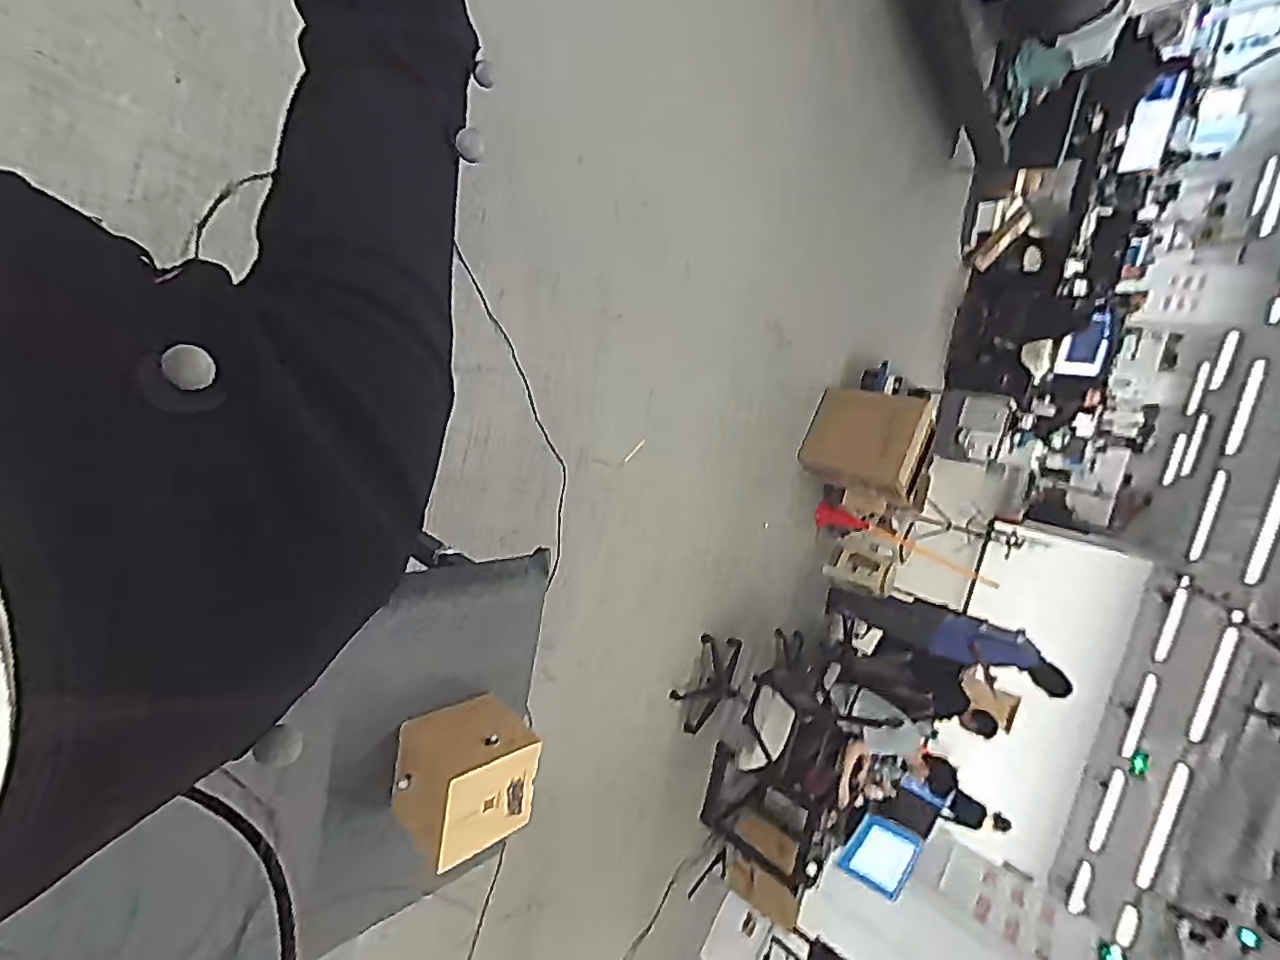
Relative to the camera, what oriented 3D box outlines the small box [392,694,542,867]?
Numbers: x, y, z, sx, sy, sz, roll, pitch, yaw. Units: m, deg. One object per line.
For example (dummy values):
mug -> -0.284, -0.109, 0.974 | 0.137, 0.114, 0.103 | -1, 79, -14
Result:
small box -> -0.299, 0.500, 0.934 | 0.179, 0.176, 0.168 | -1, 104, -48
